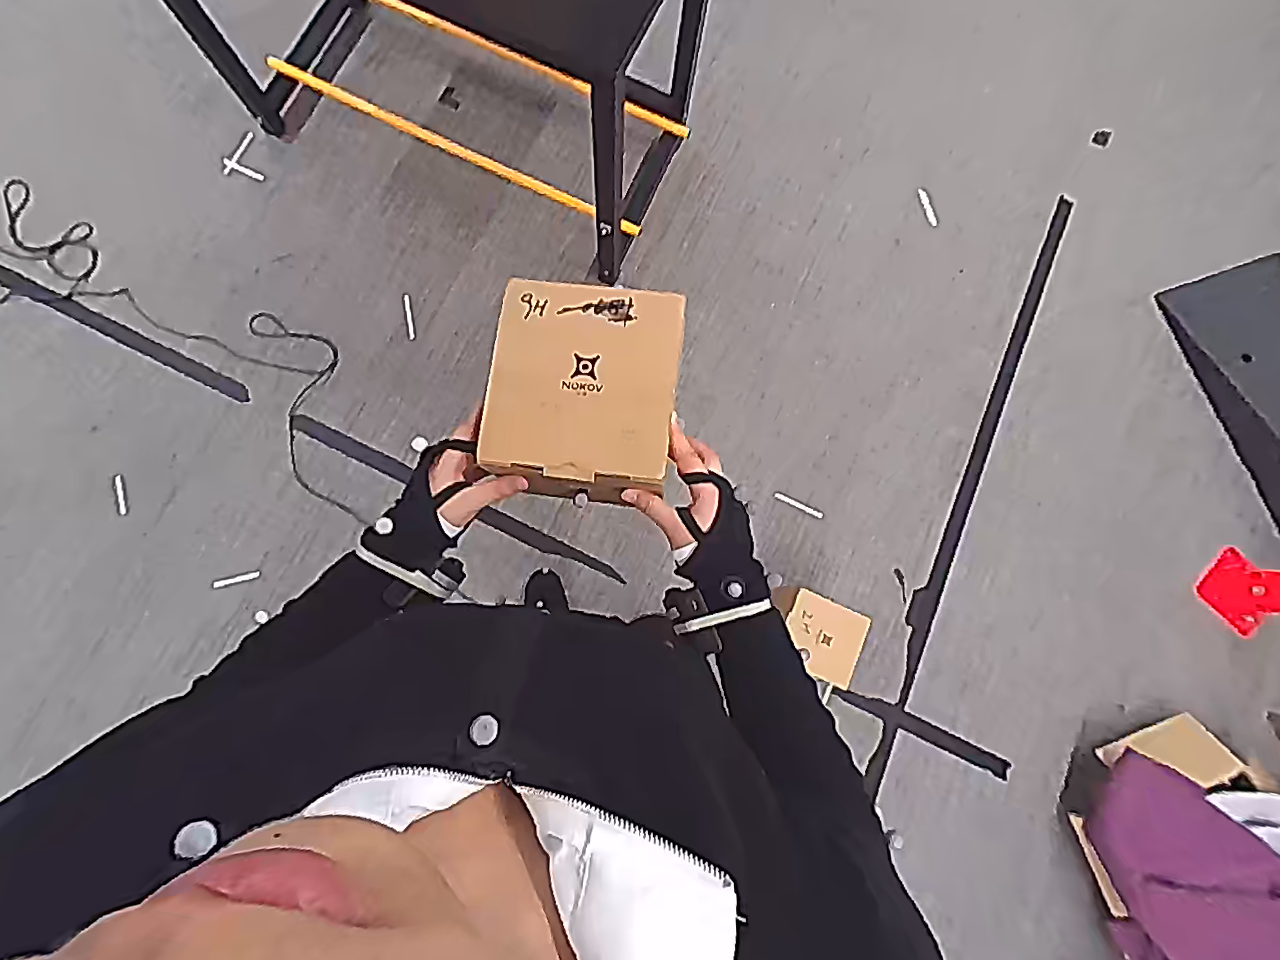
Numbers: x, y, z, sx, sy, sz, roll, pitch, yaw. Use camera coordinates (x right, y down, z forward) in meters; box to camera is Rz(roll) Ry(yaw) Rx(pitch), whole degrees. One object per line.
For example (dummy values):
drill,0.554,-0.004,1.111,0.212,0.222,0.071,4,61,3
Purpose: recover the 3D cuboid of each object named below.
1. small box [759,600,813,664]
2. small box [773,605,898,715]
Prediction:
small box,0.421,0.405,1.349,0.179,0.176,0.168,23,79,2
small box,0.420,0.382,1.185,0.179,0.176,0.168,24,79,1
